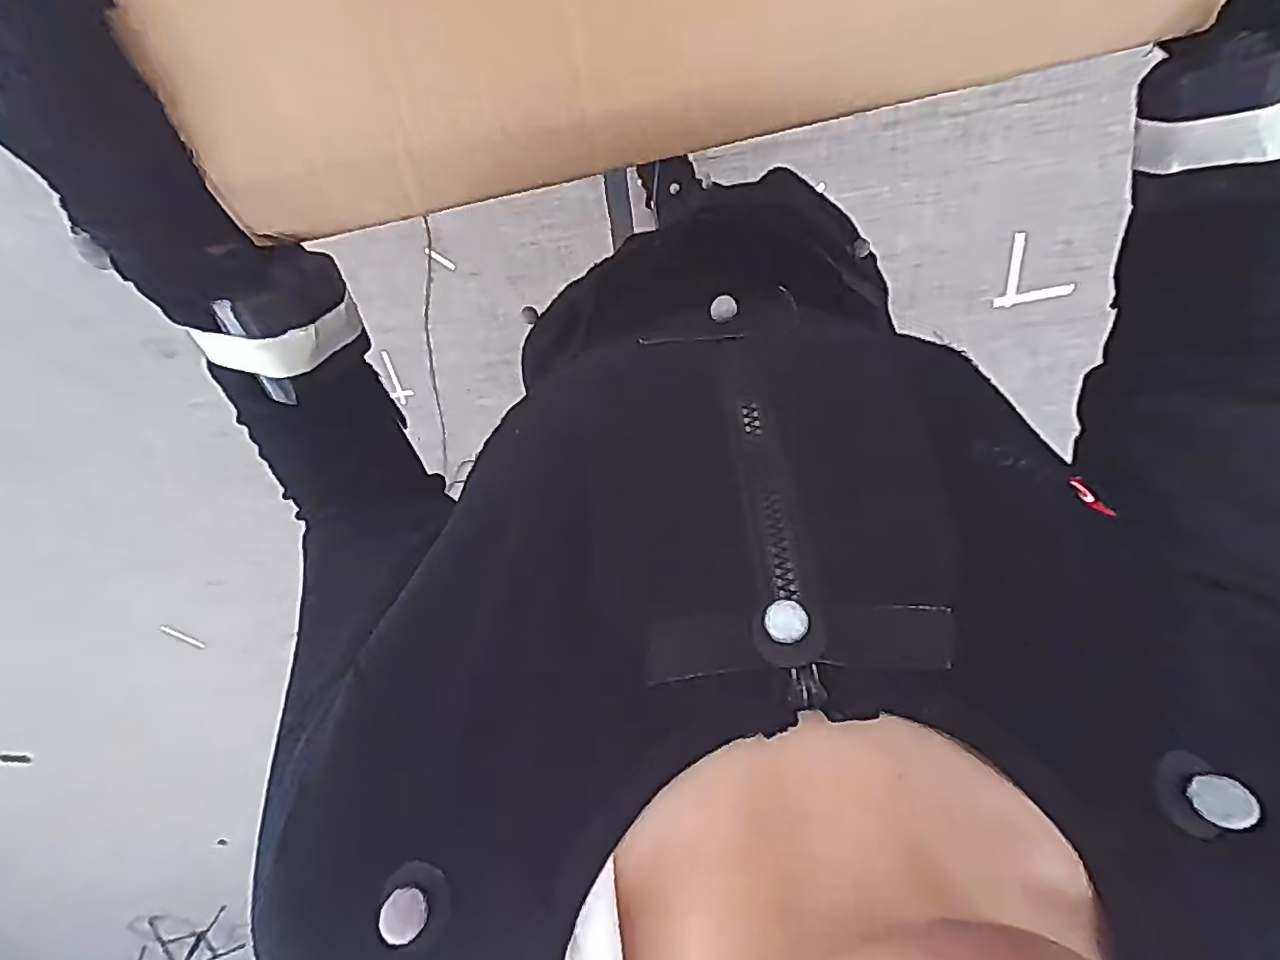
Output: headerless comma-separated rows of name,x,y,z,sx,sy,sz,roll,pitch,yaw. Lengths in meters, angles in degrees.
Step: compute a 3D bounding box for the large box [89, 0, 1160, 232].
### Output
large box,-0.022,-0.360,0.214,0.408,0.320,0.320,-9,140,6
